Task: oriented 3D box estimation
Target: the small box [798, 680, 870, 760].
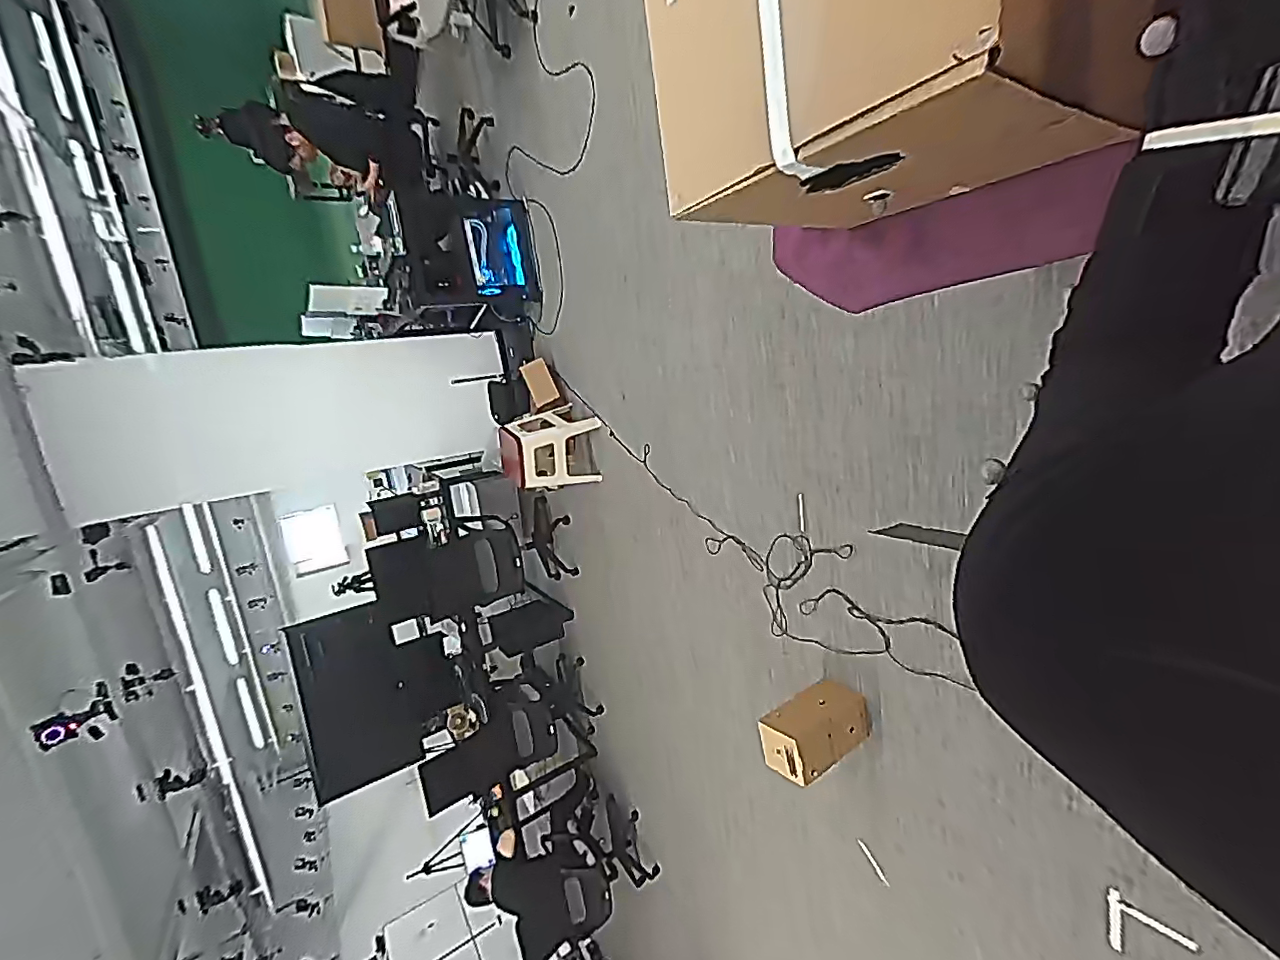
[{"bbox_3d":[0.683,0.828,1.885,0.179,0.176,0.168,7,109,58],"label":"small box"}]
